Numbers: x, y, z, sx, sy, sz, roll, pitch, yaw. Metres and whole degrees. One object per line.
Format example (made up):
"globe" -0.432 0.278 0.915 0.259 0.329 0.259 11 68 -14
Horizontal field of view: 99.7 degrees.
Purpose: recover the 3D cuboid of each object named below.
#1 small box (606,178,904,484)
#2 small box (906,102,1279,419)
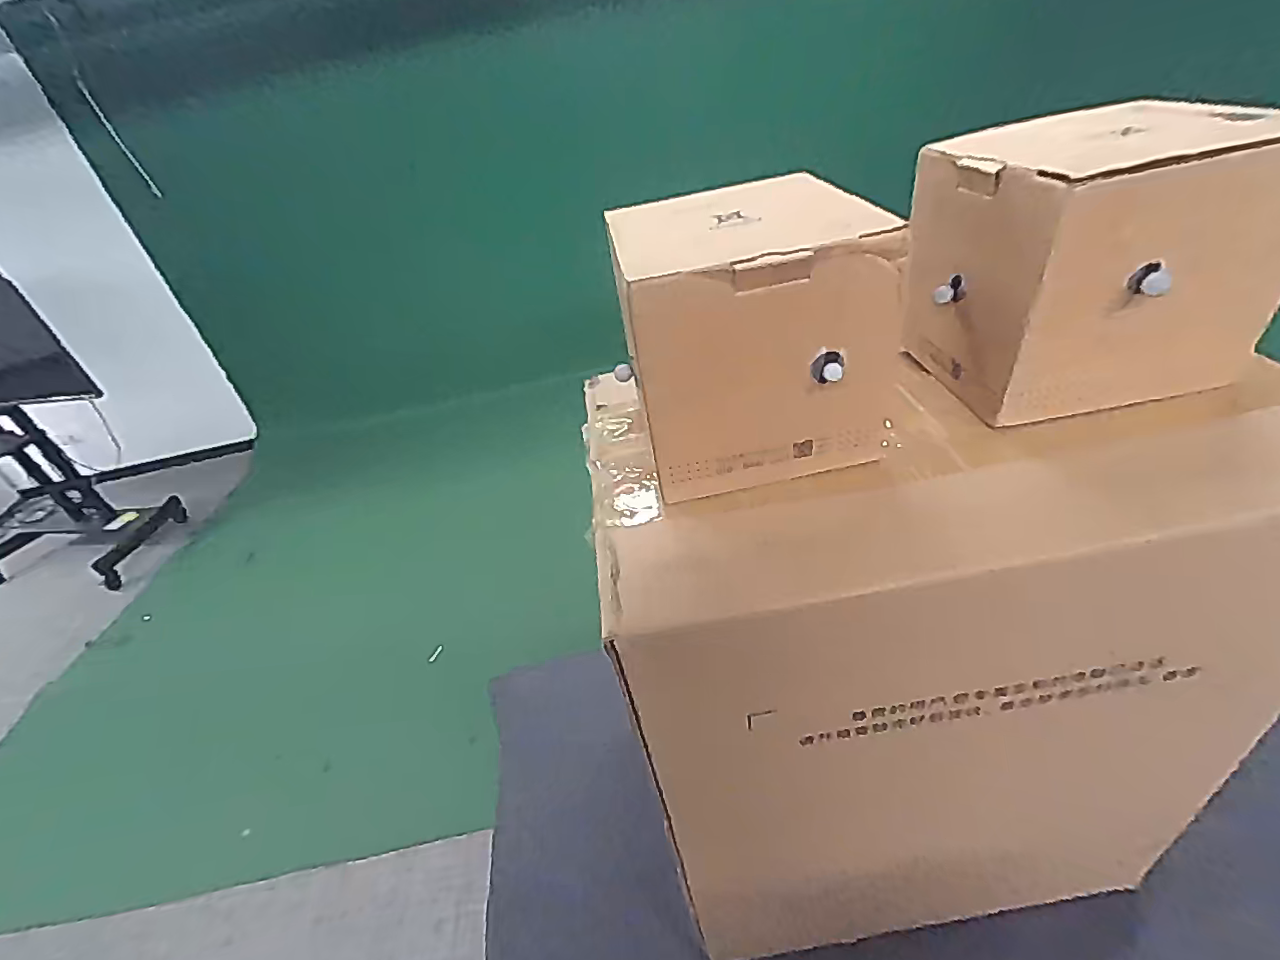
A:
"small box" 0.073 -0.111 0.416 0.168 0.176 0.179 -11 37 0
"small box" 0.324 -0.165 0.411 0.179 0.176 0.168 -12 39 2
